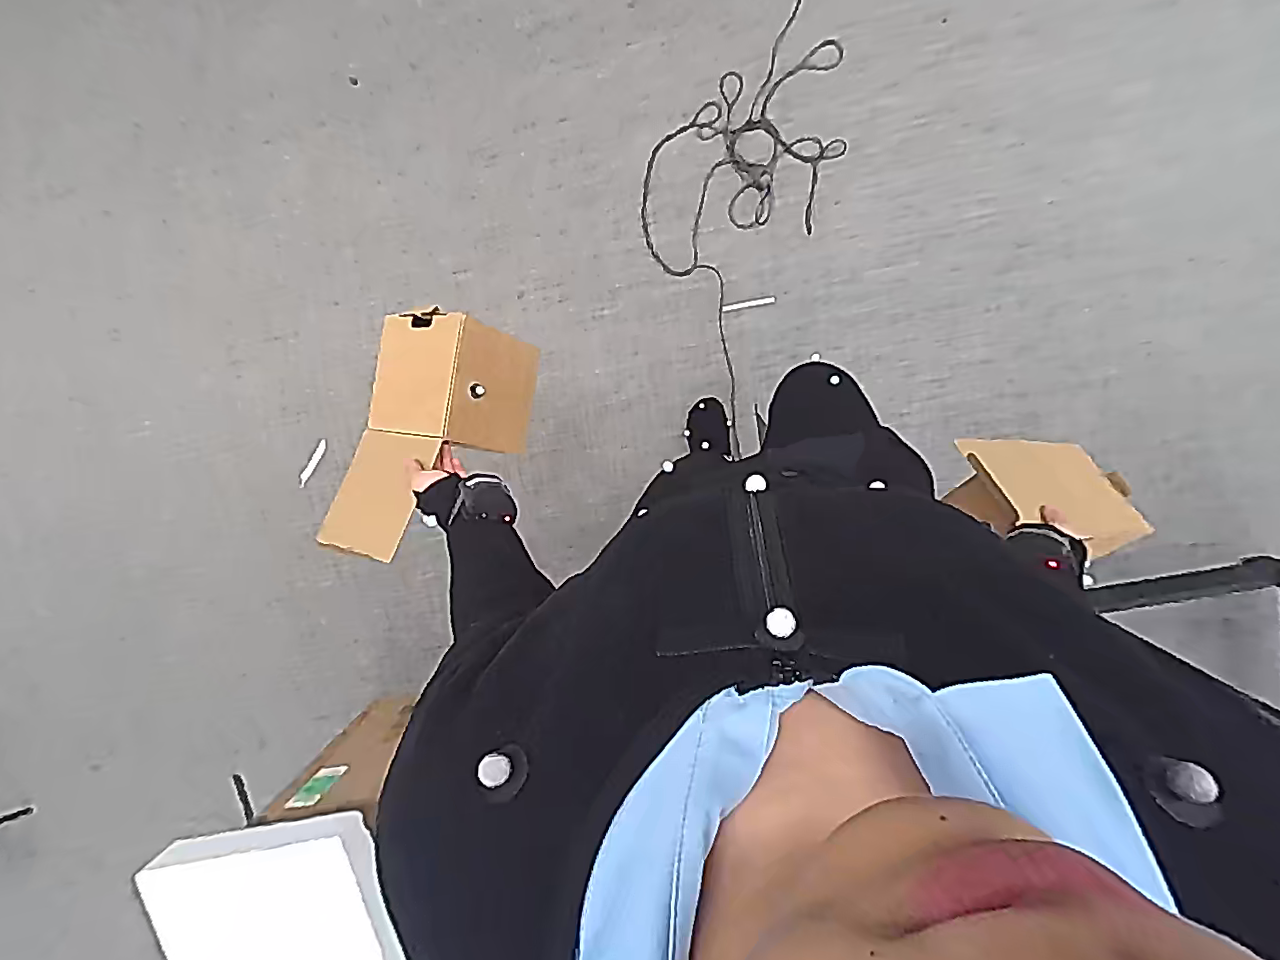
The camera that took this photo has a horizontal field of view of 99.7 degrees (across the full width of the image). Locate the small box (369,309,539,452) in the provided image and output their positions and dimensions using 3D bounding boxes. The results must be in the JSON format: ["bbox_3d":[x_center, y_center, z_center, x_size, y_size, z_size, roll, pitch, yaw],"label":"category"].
[{"bbox_3d":[-0.275,-0.142,0.819,0.168,0.176,0.179,8,88,30],"label":"small box"}]
